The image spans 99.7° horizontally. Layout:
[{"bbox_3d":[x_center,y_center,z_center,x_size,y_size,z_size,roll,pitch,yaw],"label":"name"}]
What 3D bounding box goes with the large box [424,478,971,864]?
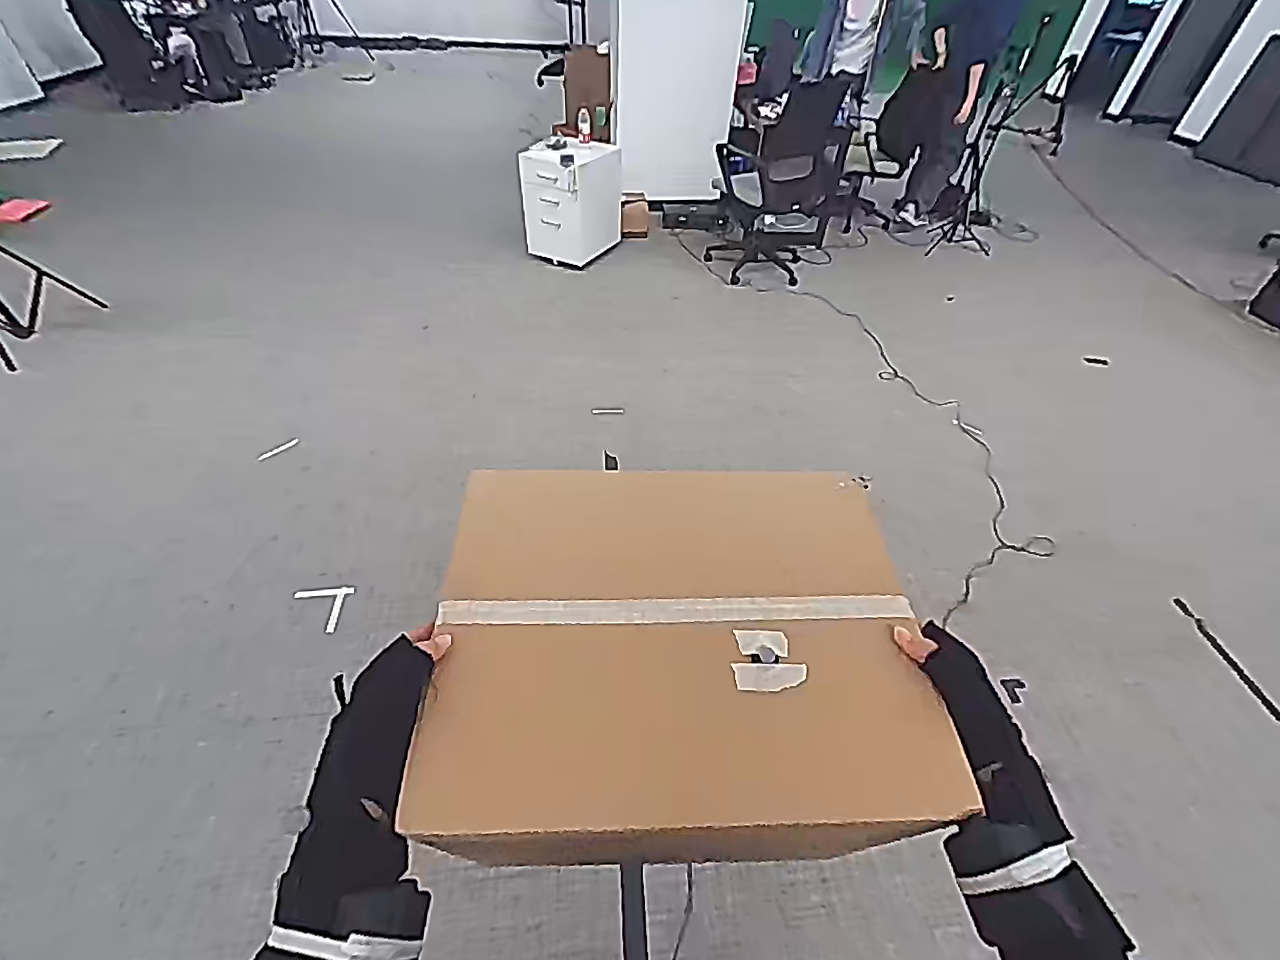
[{"bbox_3d":[0.033,0.211,0.589,0.408,0.320,0.320,0,52,-3],"label":"large box"}]
